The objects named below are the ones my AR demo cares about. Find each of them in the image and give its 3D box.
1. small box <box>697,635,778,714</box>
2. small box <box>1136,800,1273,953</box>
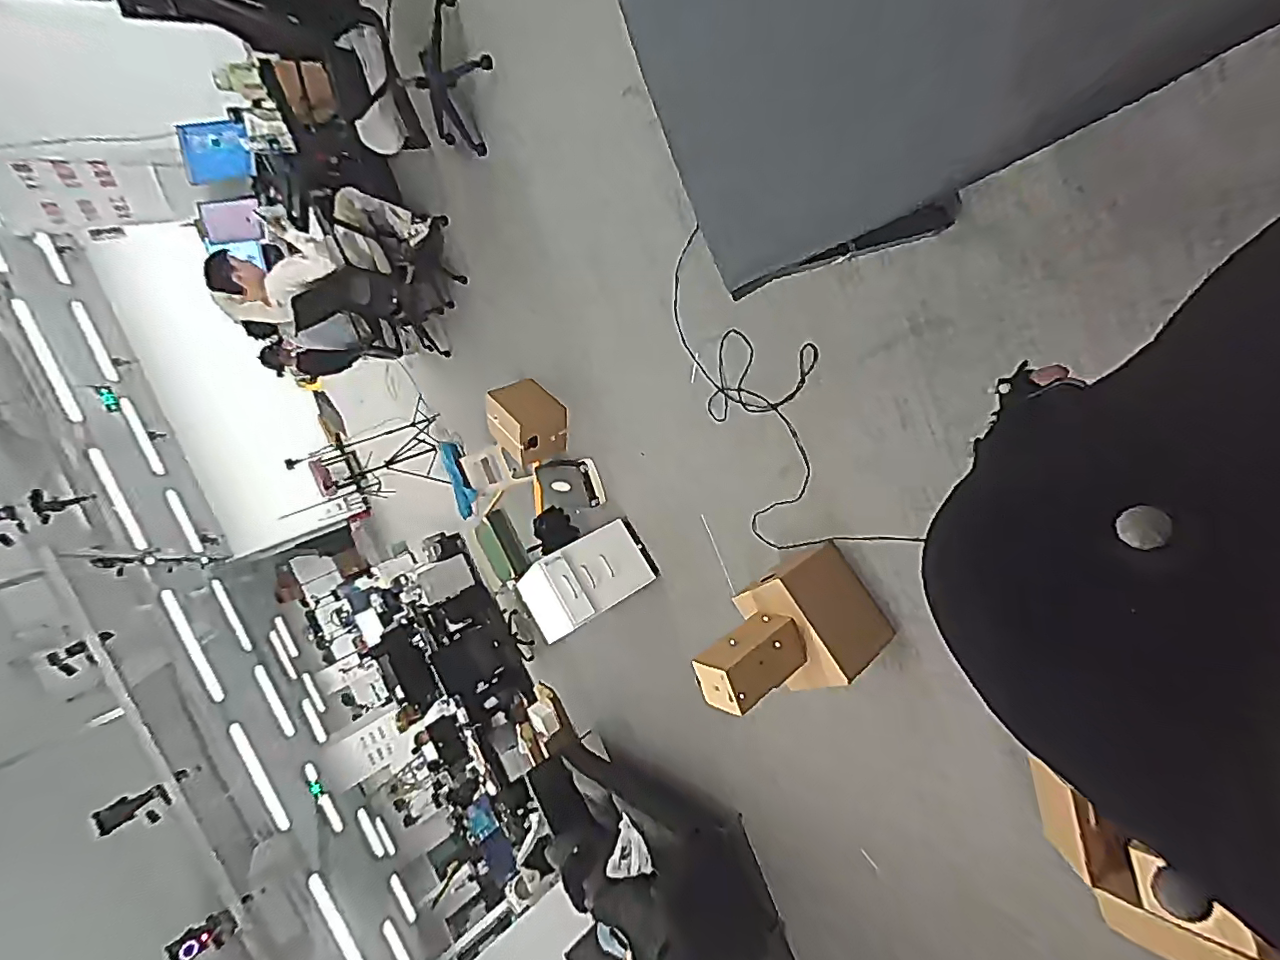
[{"bbox_3d":[0.323,0.636,1.790,0.179,0.176,0.168,-8,105,58],"label":"small box"},{"bbox_3d":[1.224,0.840,1.170,0.179,0.176,0.168,-9,102,57],"label":"small box"}]
